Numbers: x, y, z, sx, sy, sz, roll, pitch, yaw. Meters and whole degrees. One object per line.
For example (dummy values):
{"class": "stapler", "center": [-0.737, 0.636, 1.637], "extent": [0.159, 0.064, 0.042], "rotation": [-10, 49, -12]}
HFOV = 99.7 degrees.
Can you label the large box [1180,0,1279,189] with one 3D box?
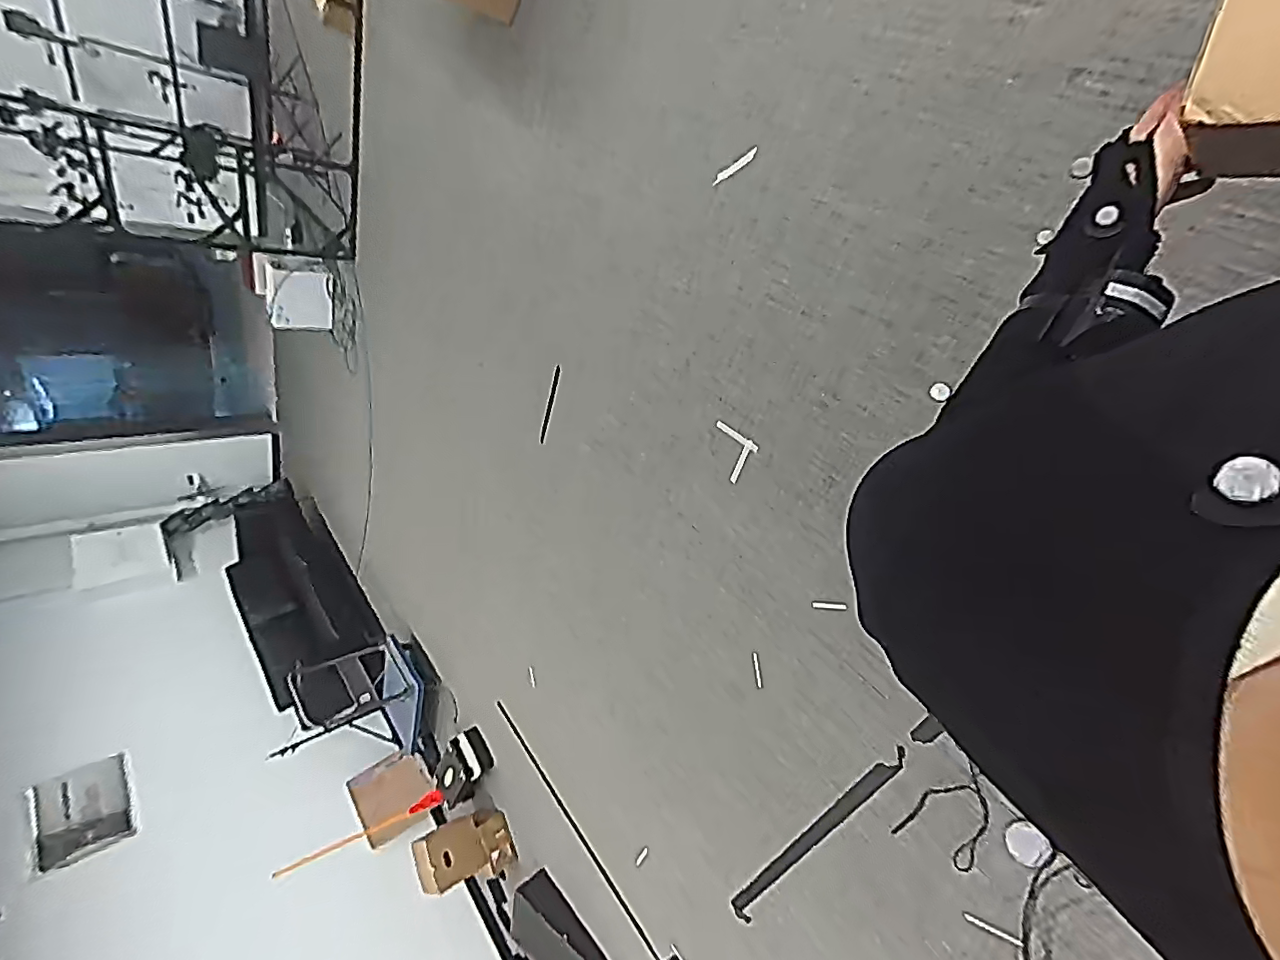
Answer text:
{"class": "large box", "center": [0.485, -0.278, 0.157], "extent": [0.408, 0.320, 0.320], "rotation": [22, 123, 38]}
